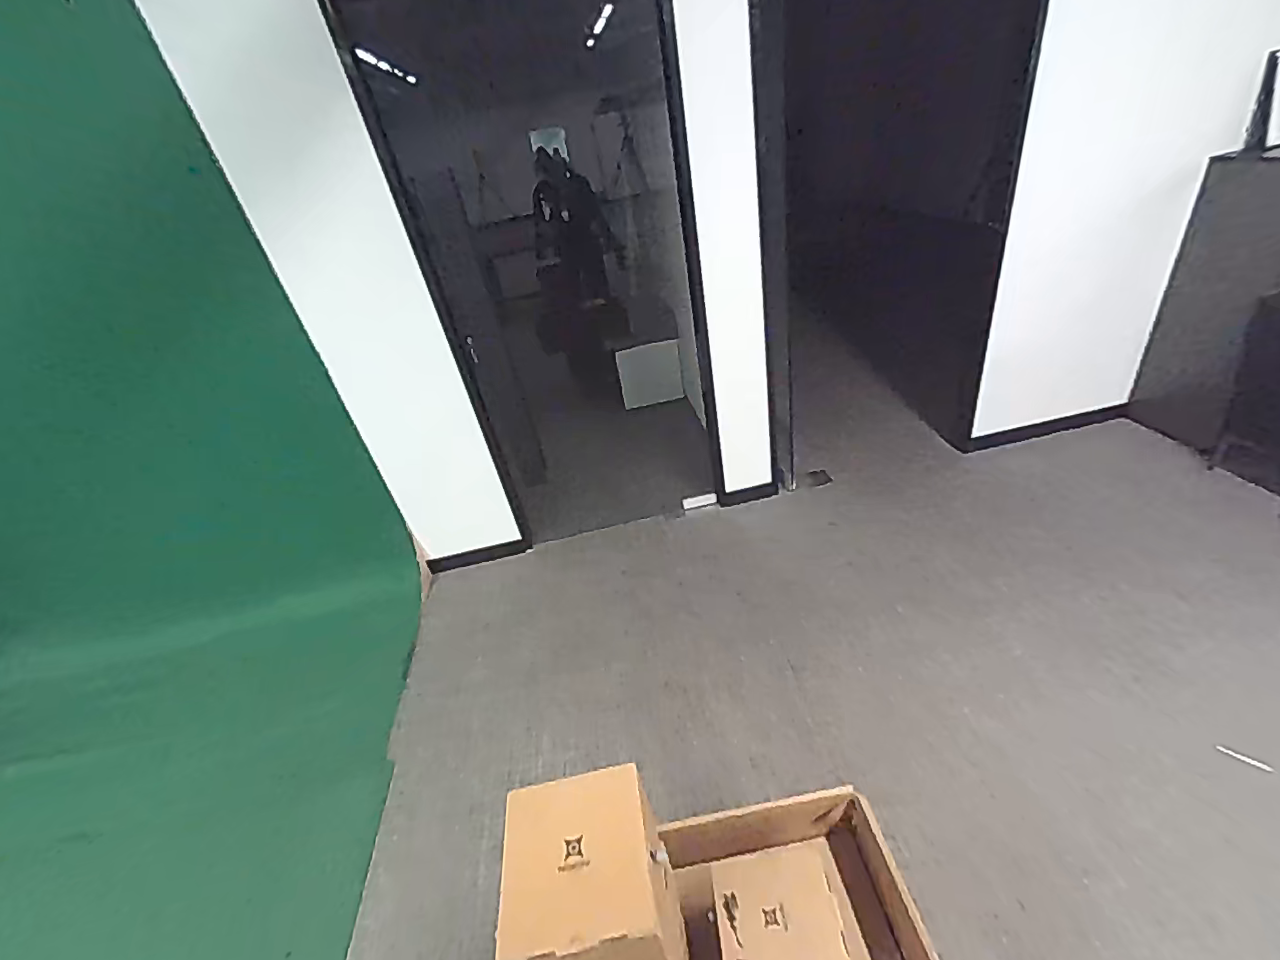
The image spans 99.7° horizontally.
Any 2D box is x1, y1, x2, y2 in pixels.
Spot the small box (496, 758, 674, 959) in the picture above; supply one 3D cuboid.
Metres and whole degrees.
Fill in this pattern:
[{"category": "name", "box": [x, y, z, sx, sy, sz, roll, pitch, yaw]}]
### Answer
[{"category": "small box", "box": [-0.061, 0.476, 0.649, 0.168, 0.176, 0.179, -12, 33, -1]}]
